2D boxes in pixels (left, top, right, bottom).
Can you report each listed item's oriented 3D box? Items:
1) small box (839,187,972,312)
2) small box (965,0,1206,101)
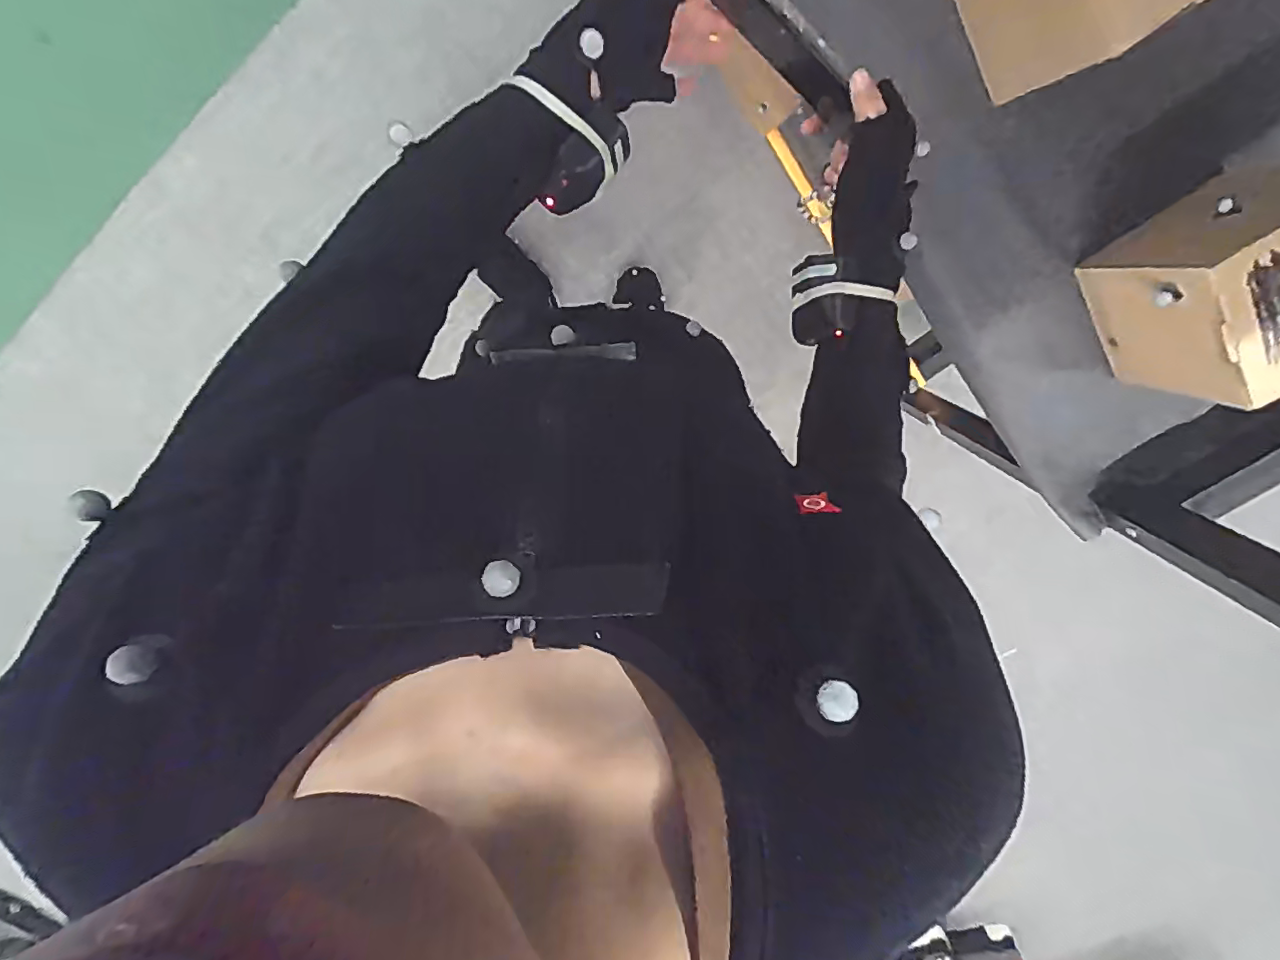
[{"bbox_3d":[0.538,-0.473,1.126,0.179,0.176,0.168,-32,109,13],"label":"small box"},{"bbox_3d":[0.399,-0.470,0.454,0.168,0.176,0.179,-33,108,13],"label":"small box"}]
